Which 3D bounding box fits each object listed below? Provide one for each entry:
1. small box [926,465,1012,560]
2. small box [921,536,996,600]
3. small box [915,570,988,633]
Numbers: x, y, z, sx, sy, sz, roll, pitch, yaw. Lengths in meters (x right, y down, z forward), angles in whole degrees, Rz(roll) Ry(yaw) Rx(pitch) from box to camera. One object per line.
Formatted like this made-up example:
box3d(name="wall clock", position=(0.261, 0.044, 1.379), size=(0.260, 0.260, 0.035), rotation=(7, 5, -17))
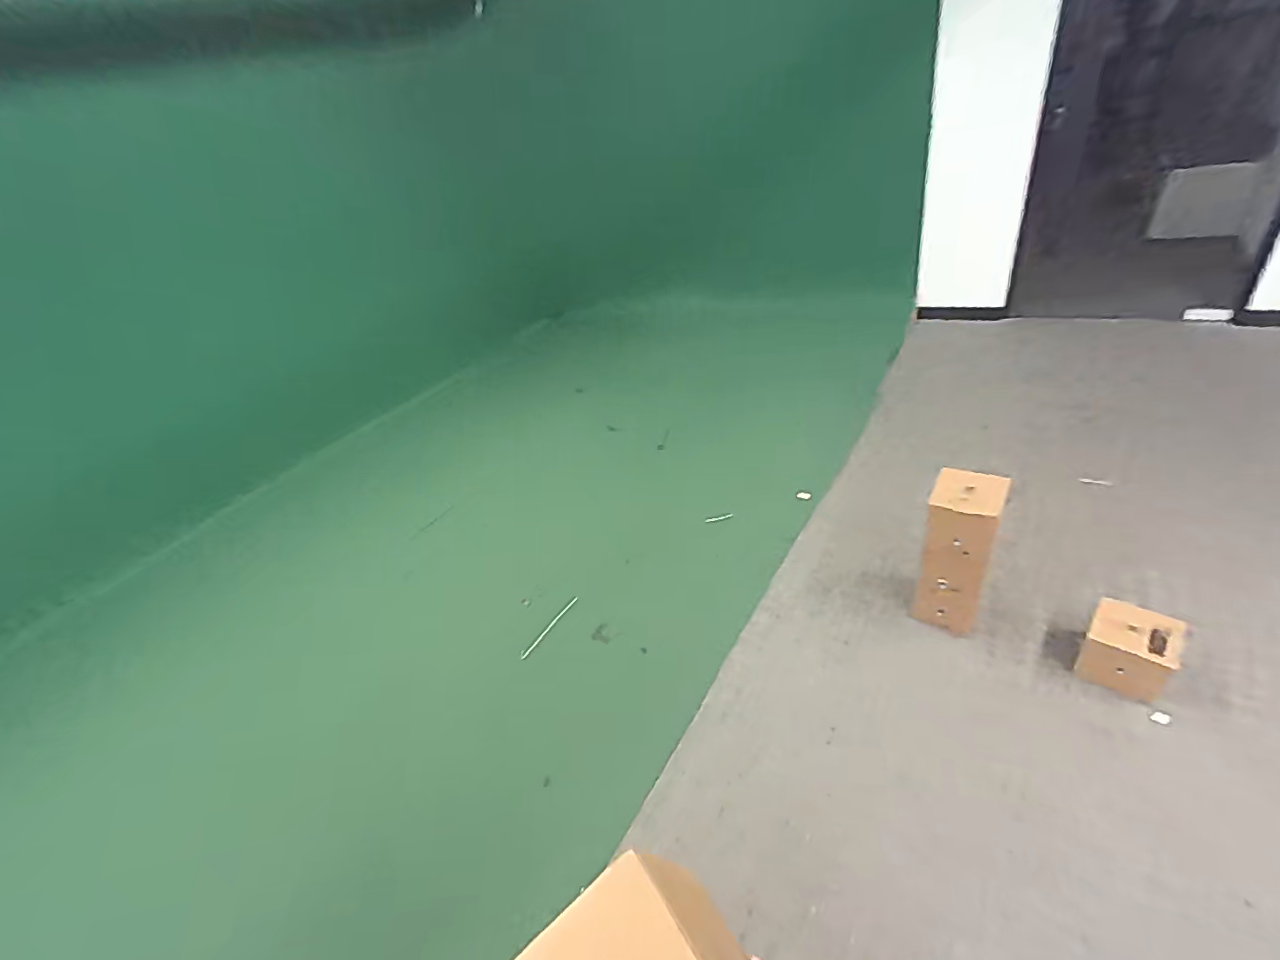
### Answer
box3d(name="small box", position=(0.895, 0.087, 1.480), size=(0.168, 0.176, 0.179), rotation=(13, 44, 36))
box3d(name="small box", position=(0.932, 0.214, 1.579), size=(0.168, 0.176, 0.179), rotation=(13, 45, 36))
box3d(name="small box", position=(0.966, 0.340, 1.676), size=(0.168, 0.176, 0.179), rotation=(17, 48, 37))
